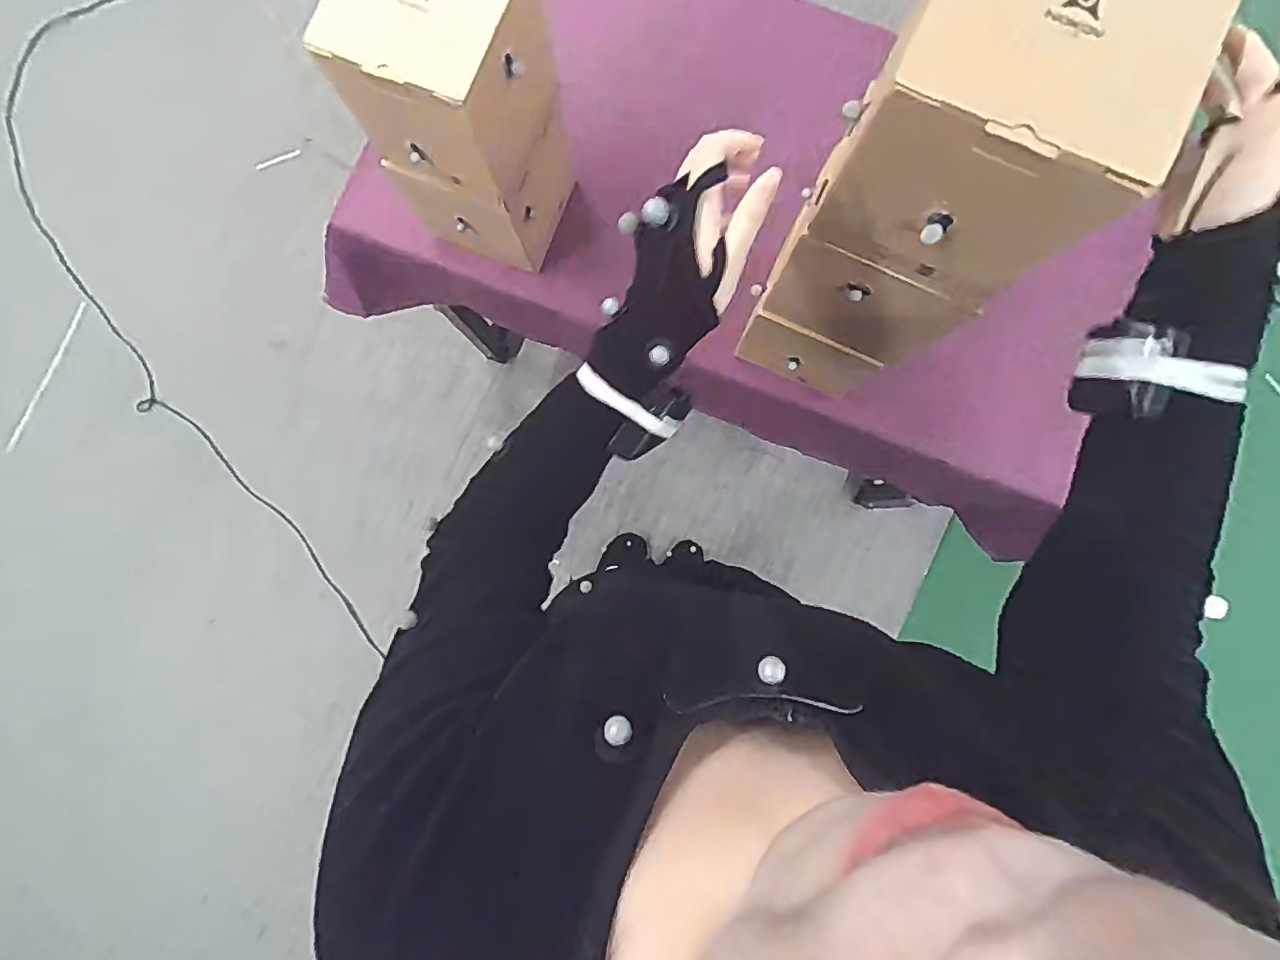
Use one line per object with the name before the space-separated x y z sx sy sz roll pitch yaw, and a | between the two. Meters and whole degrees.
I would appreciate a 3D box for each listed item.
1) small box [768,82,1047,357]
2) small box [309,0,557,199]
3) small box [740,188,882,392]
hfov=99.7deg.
small box | 0.256 -0.250 0.565 0.179 0.176 0.168 26 87 1
small box | -0.199 -0.450 0.579 0.168 0.176 0.179 22 87 2
small box | 0.248 -0.239 0.729 0.168 0.176 0.179 25 86 1
